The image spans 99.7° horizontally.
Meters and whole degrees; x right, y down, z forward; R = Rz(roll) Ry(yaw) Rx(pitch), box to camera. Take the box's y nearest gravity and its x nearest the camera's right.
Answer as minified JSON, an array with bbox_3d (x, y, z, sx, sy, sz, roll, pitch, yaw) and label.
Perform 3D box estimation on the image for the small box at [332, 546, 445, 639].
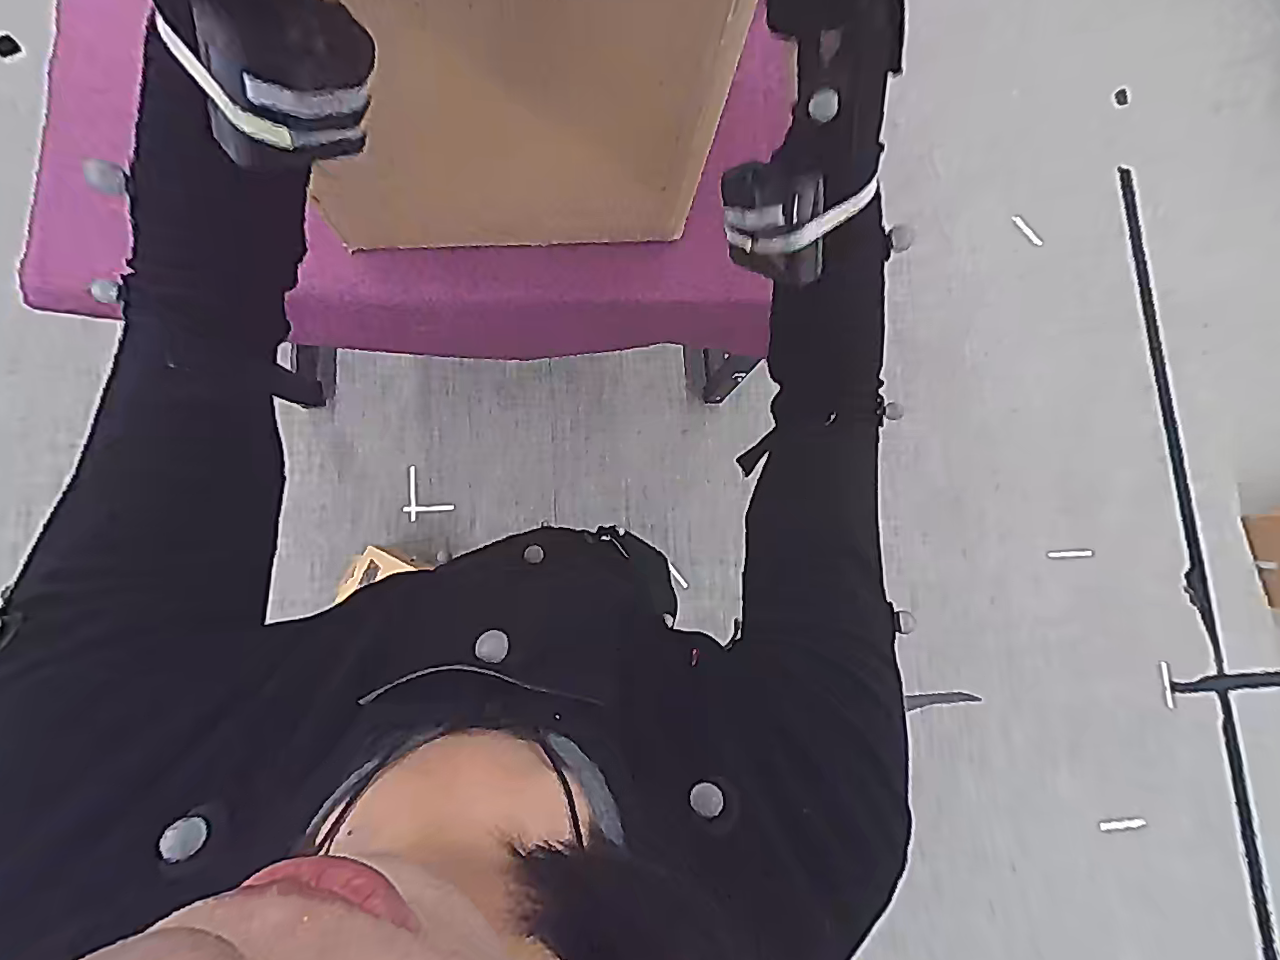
[{"bbox_3d":[-0.626,0.280,1.372,0.179,0.176,0.168,29,80,-3],"label":"small box"}]
